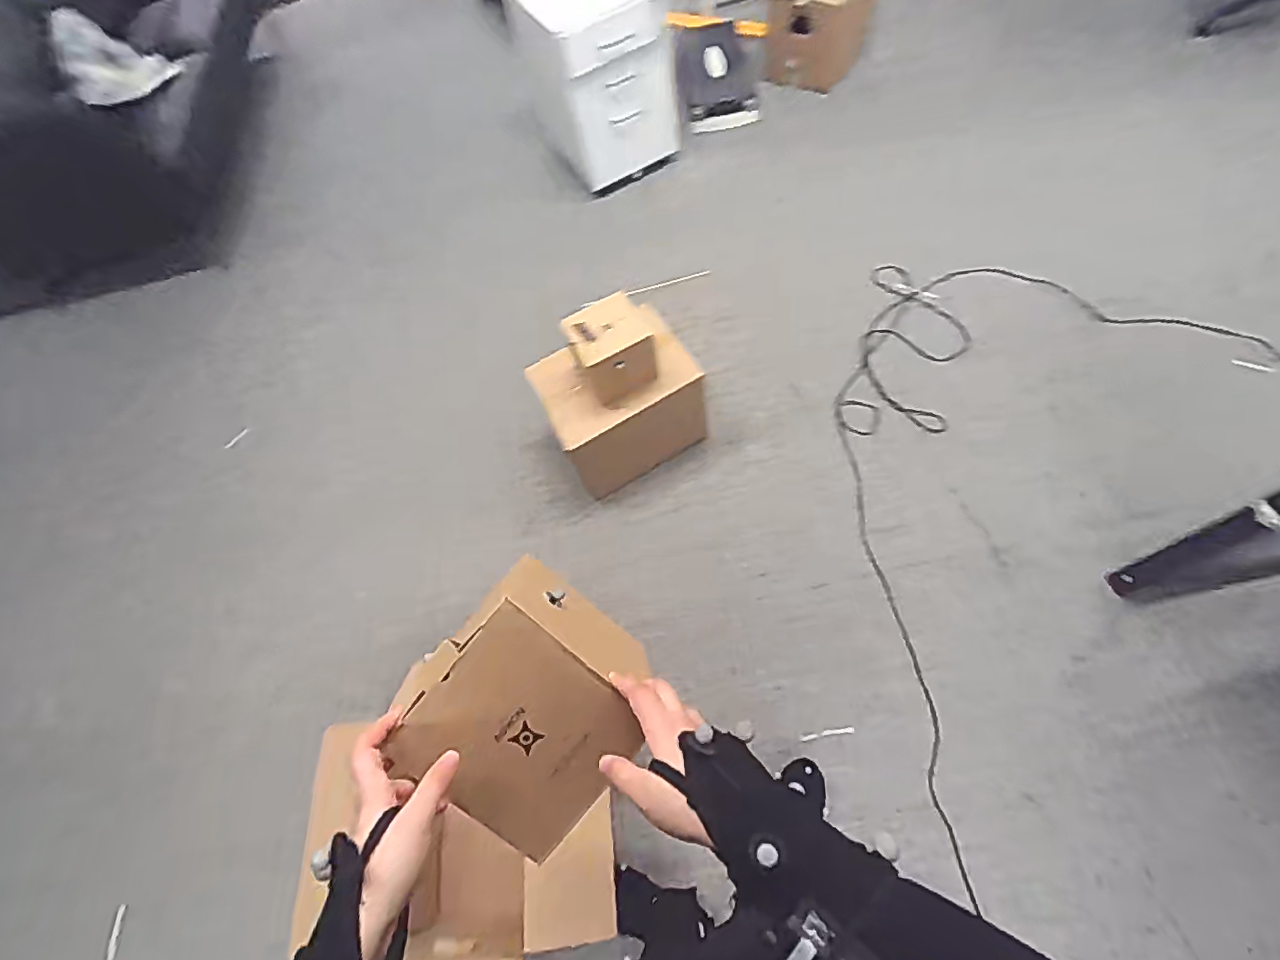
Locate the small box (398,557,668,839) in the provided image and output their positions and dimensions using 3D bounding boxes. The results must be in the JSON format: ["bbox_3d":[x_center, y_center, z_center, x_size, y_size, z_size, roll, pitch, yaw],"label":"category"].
[{"bbox_3d":[-0.097,0.196,0.546,0.179,0.176,0.168,41,91,-6],"label":"small box"}]

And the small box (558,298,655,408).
[{"bbox_3d":[-0.078,-0.314,1.365,0.179,0.176,0.168,-30,63,-5],"label":"small box"}]
